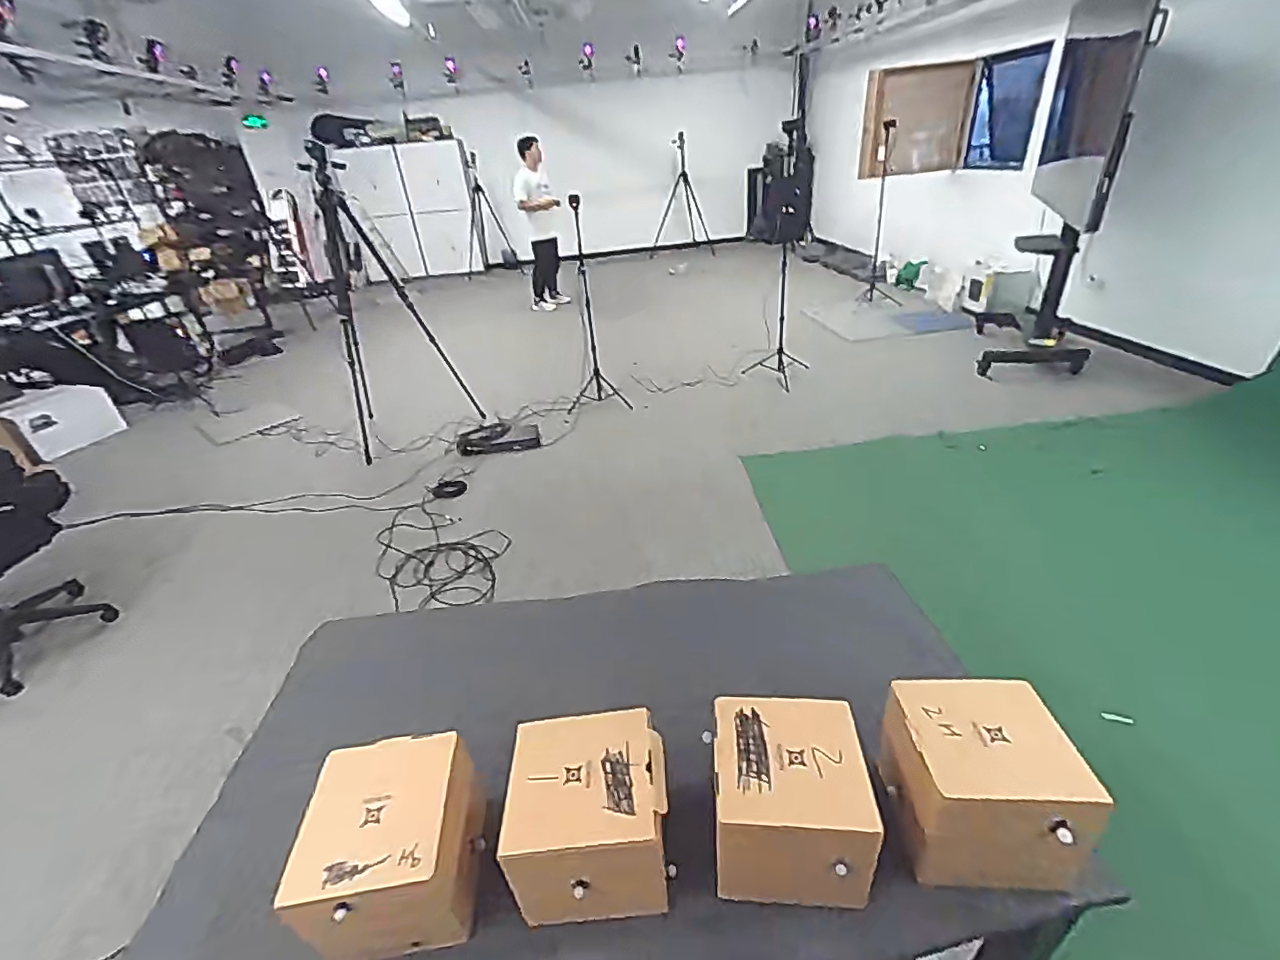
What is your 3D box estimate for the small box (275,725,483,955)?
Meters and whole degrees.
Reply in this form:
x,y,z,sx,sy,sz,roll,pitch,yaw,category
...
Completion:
x,y,z,sx,sy,sz,roll,pitch,yaw,category
-0.304,0.445,0.679,0.168,0.176,0.179,-8,32,-3,small box
